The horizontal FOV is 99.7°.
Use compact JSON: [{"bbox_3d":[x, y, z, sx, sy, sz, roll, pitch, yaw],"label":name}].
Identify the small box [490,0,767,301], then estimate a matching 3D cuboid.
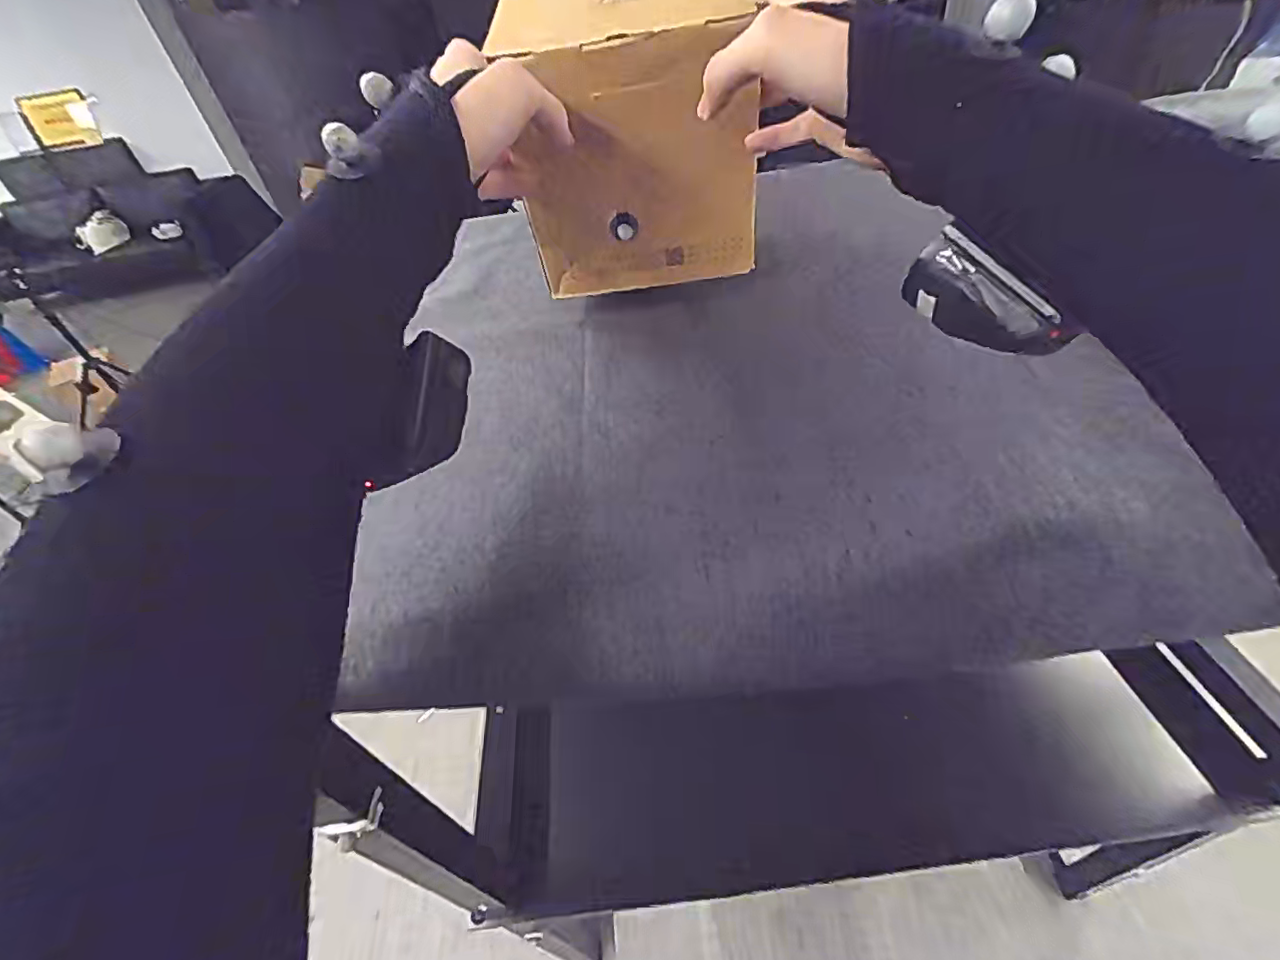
[{"bbox_3d":[-0.003,-0.269,0.425,0.168,0.176,0.179,-7,55,4],"label":"small box"}]
